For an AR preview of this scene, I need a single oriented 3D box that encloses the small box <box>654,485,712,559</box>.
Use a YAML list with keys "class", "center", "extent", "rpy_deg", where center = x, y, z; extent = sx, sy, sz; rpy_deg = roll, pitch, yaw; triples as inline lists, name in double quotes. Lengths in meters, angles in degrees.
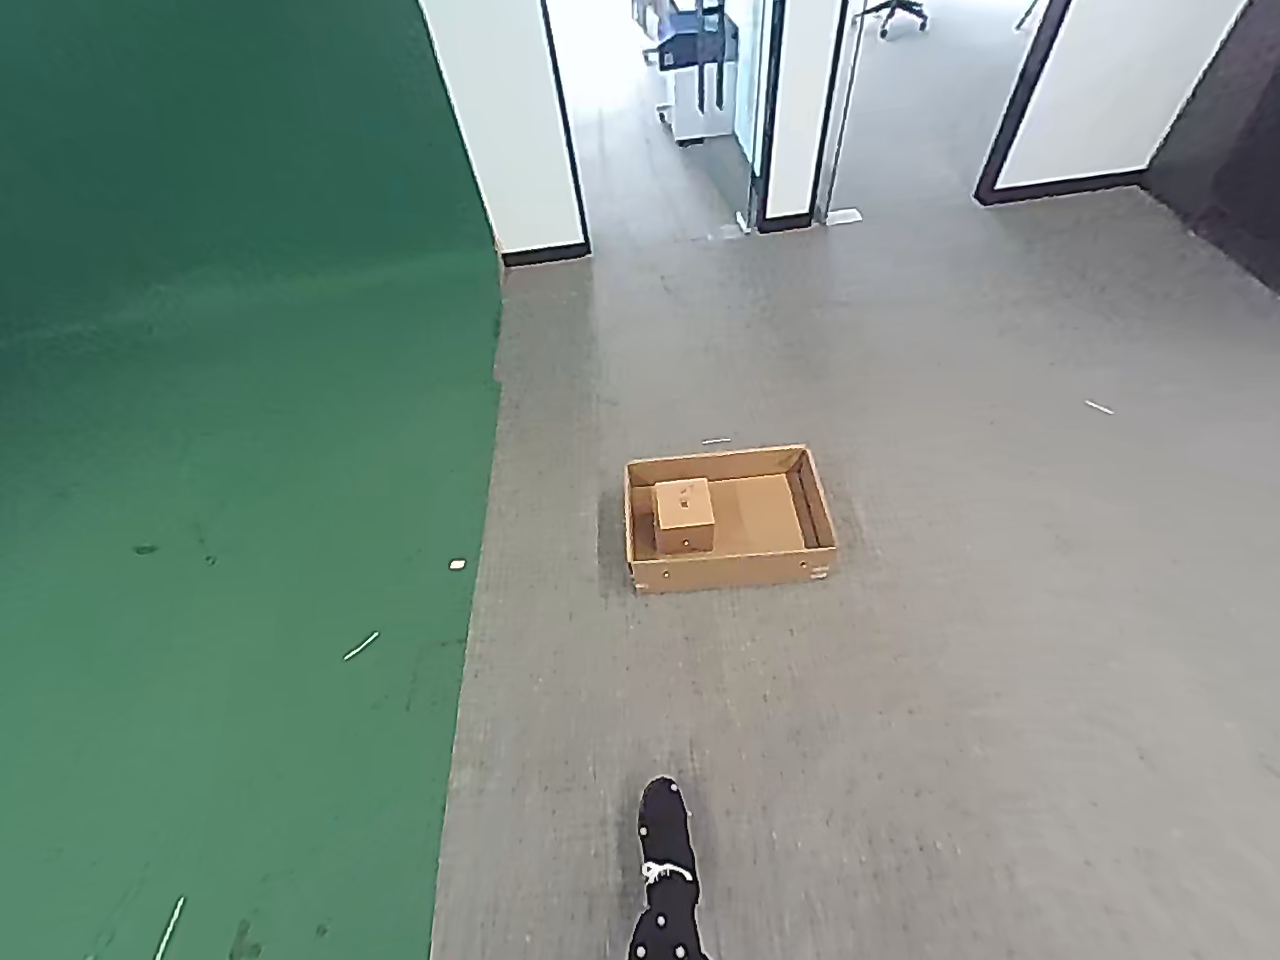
- class: "small box"
  center: [0.136, 0.139, 1.715]
  extent: [0.168, 0.176, 0.179]
  rpy_deg: [-5, 52, 1]
